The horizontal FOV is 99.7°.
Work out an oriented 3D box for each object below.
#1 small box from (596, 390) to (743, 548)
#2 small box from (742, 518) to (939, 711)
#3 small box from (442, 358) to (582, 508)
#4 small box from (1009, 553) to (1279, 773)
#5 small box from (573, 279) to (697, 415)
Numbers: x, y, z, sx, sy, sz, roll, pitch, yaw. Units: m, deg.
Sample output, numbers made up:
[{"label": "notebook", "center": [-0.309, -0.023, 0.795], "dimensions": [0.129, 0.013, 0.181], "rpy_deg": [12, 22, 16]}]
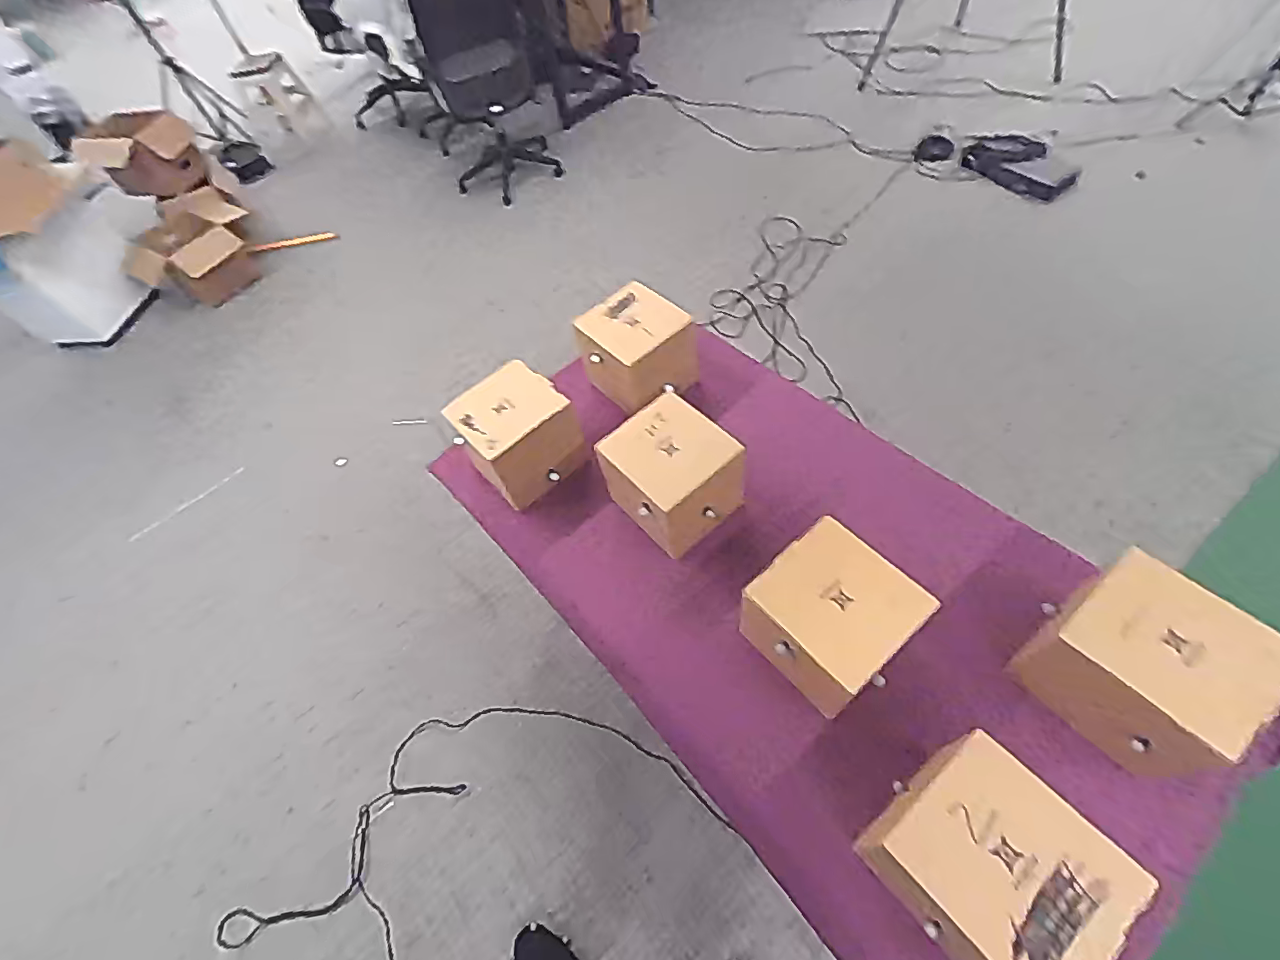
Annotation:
[{"label": "small box", "center": [0.054, -0.009, 0.903], "dimensions": [0.168, 0.176, 0.179], "rpy_deg": [-38, 59, -15]}, {"label": "small box", "center": [0.260, 0.192, 0.741], "dimensions": [0.168, 0.176, 0.179], "rpy_deg": [-38, 58, -15]}, {"label": "small box", "center": [-0.224, -0.085, 0.998], "dimensions": [0.179, 0.176, 0.168], "rpy_deg": [-39, 59, -18]}, {"label": "small box", "center": [0.604, 0.226, 0.656], "dimensions": [0.168, 0.176, 0.179], "rpy_deg": [-38, 58, -13]}, {"label": "small box", "center": [-0.004, -0.258, 1.076], "dimensions": [0.168, 0.176, 0.179], "rpy_deg": [-39, 60, -15]}]
